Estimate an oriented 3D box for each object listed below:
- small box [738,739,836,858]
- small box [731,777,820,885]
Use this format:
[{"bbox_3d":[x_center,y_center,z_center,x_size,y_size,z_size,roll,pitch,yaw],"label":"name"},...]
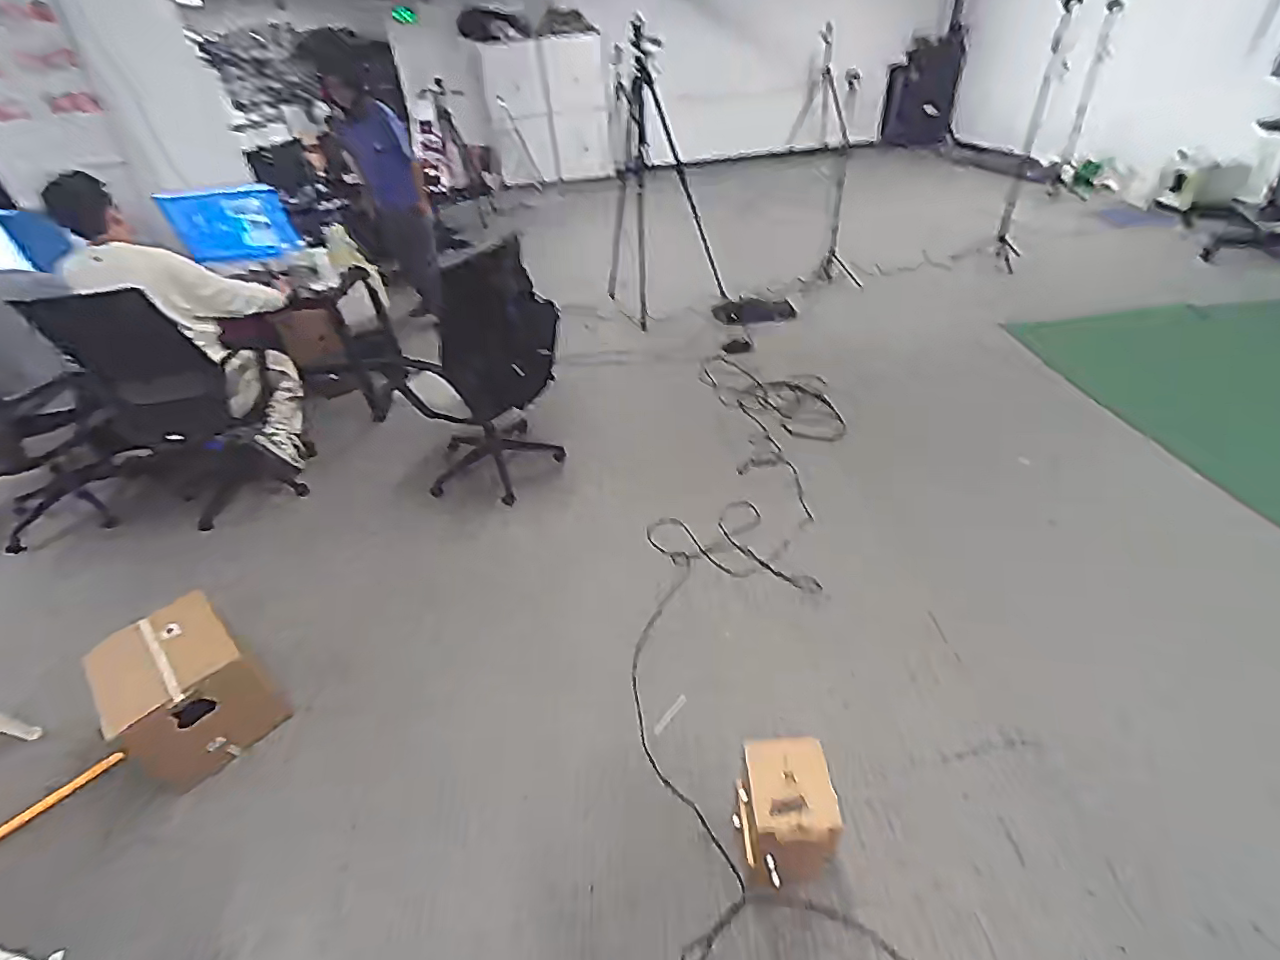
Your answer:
[{"bbox_3d":[0.302,0.677,1.145,0.168,0.176,0.179,-4,36,3],"label":"small box"},{"bbox_3d":[0.304,0.808,1.245,0.168,0.176,0.179,-4,37,2],"label":"small box"}]
